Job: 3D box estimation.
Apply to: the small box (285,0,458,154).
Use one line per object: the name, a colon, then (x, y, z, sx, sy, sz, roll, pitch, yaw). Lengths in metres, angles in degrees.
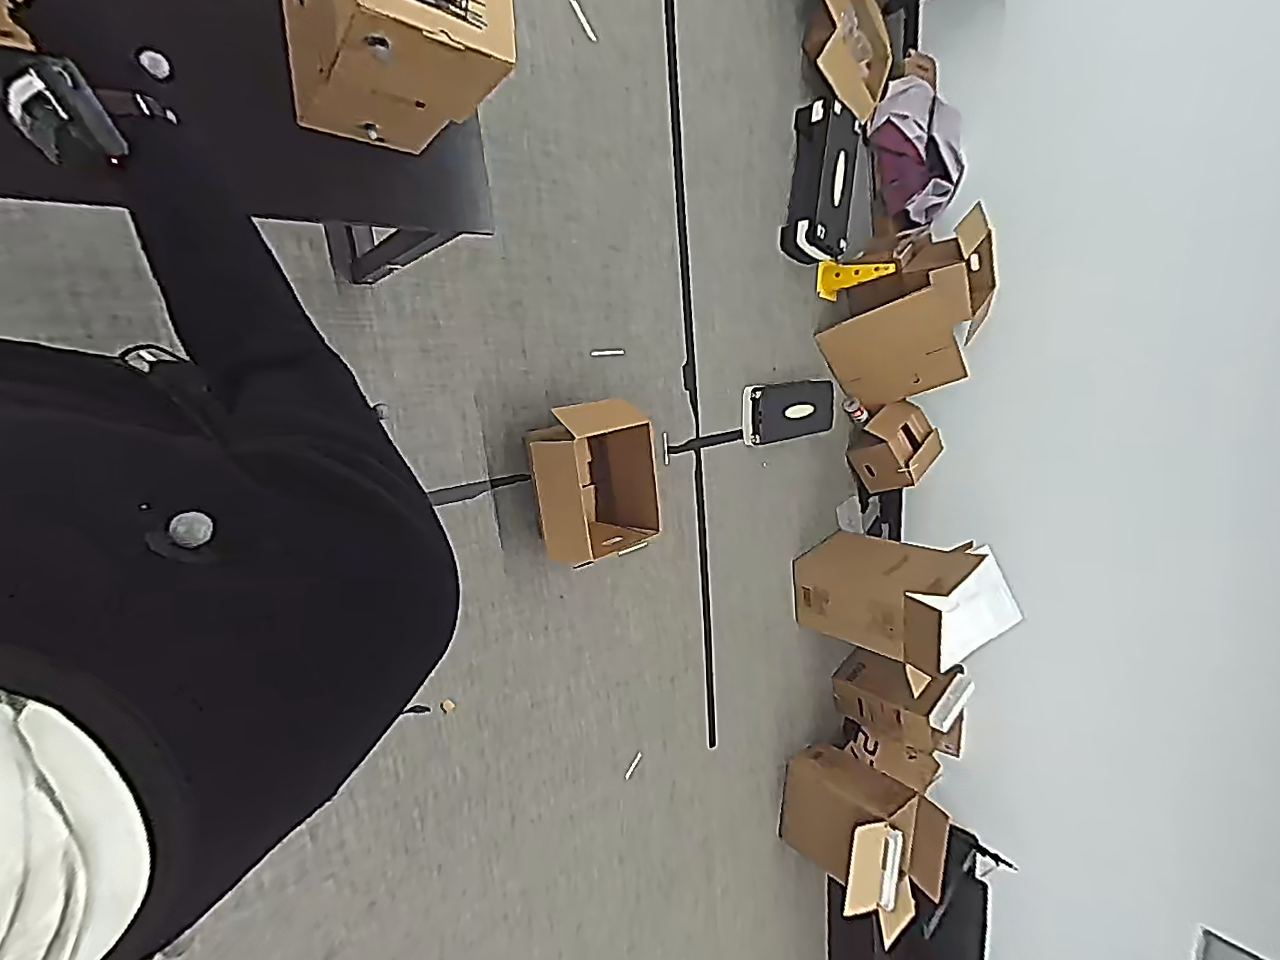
small box: (-0.361, -0.575, 0.723, 0.168, 0.176, 0.179, -9, 103, -39)

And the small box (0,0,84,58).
small box: (-0.644, -0.534, 0.485, 0.168, 0.176, 0.179, -16, 108, -39)
